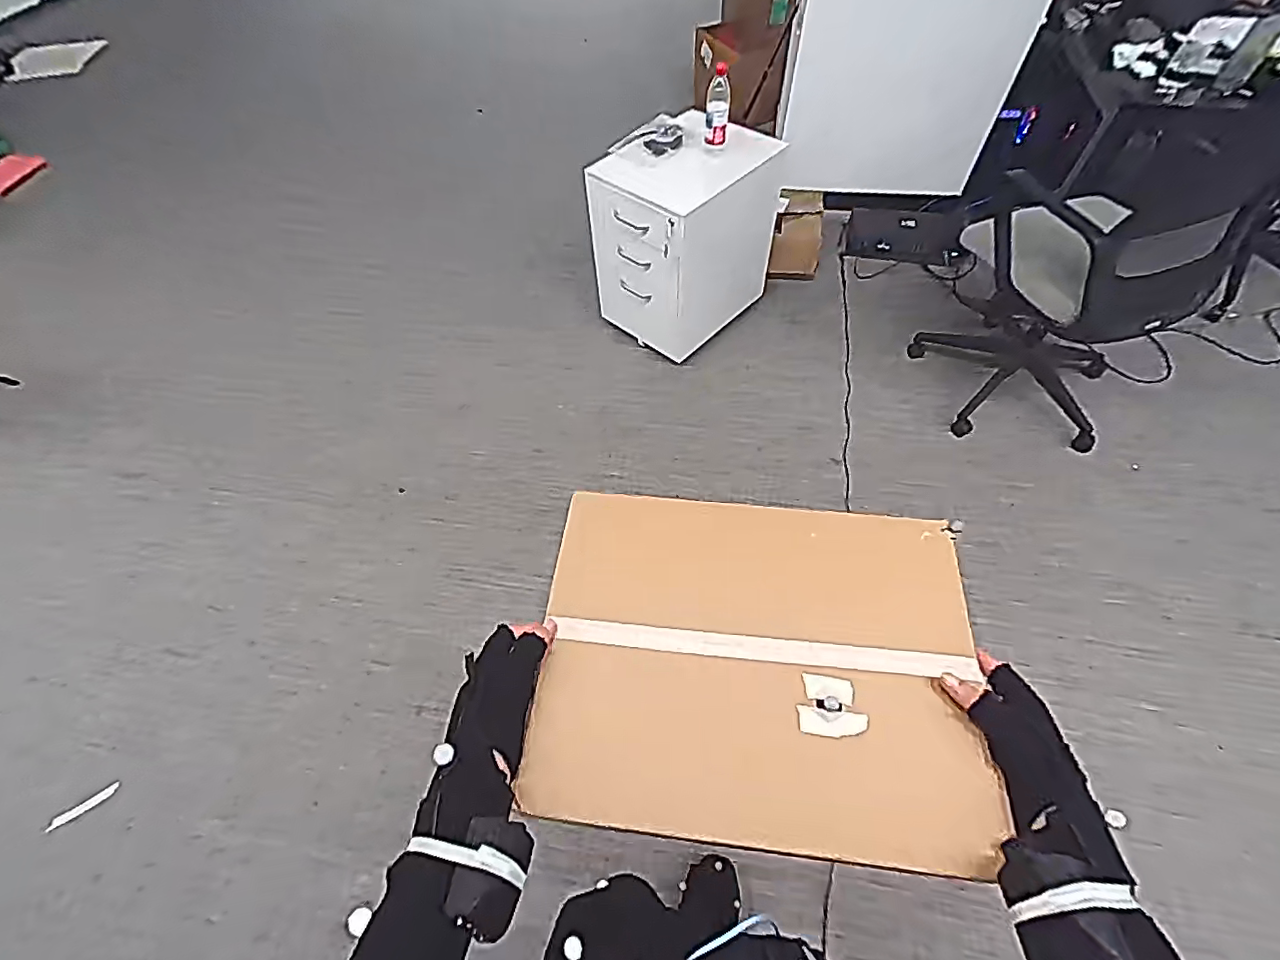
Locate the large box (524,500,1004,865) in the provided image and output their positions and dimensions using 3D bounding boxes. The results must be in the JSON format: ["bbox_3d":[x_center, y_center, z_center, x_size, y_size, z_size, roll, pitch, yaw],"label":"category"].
[{"bbox_3d":[0.116,0.243,0.650,0.408,0.320,0.320,5,59,6],"label":"large box"}]
